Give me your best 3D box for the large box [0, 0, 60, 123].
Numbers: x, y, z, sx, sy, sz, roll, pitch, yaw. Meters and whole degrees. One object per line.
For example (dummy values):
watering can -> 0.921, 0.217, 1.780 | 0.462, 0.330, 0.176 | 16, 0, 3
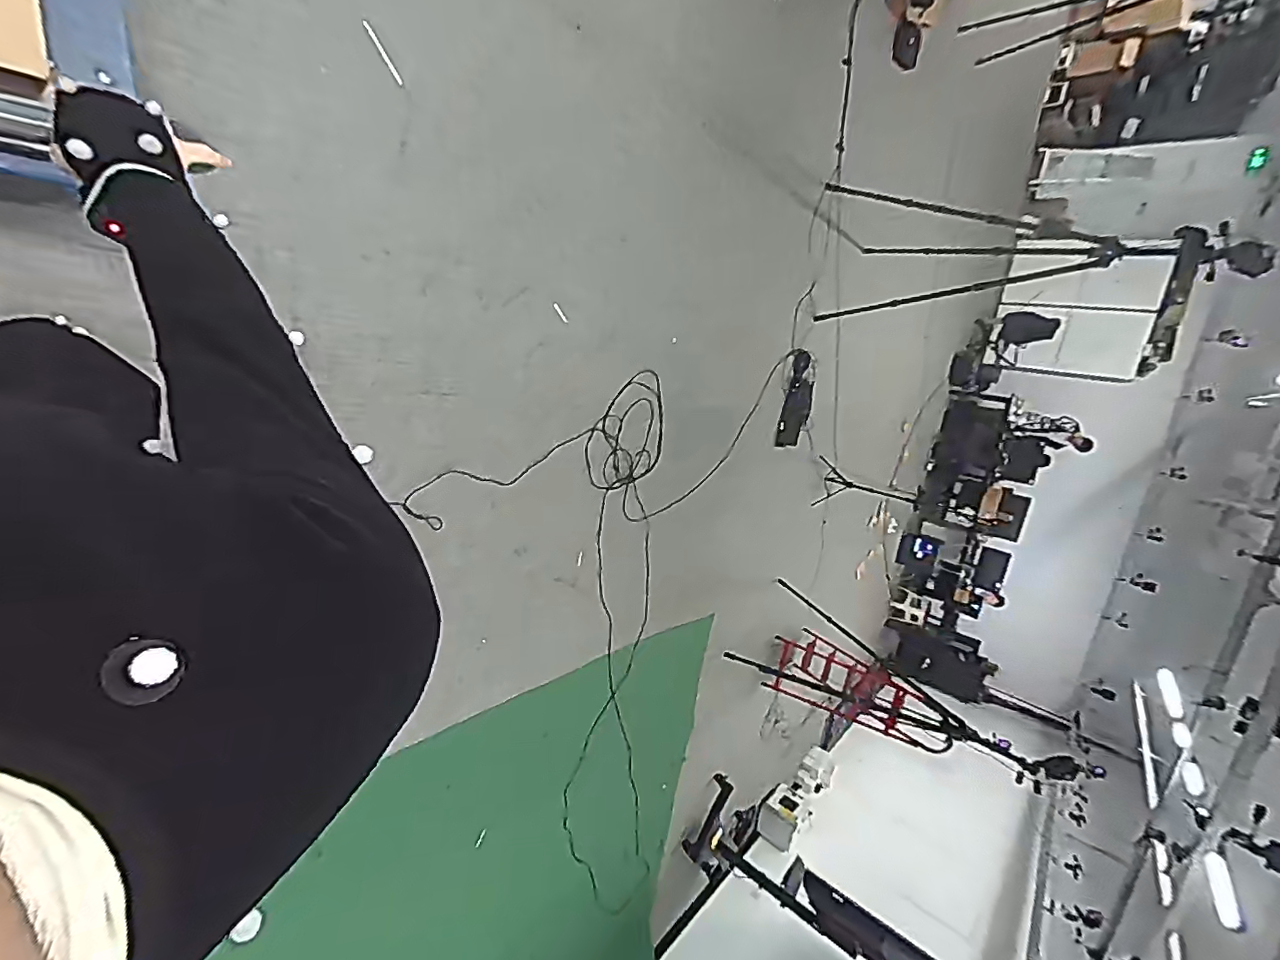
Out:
large box -> -0.977, -0.728, 0.657 | 0.320, 0.320, 0.408 | -13, 113, -47
